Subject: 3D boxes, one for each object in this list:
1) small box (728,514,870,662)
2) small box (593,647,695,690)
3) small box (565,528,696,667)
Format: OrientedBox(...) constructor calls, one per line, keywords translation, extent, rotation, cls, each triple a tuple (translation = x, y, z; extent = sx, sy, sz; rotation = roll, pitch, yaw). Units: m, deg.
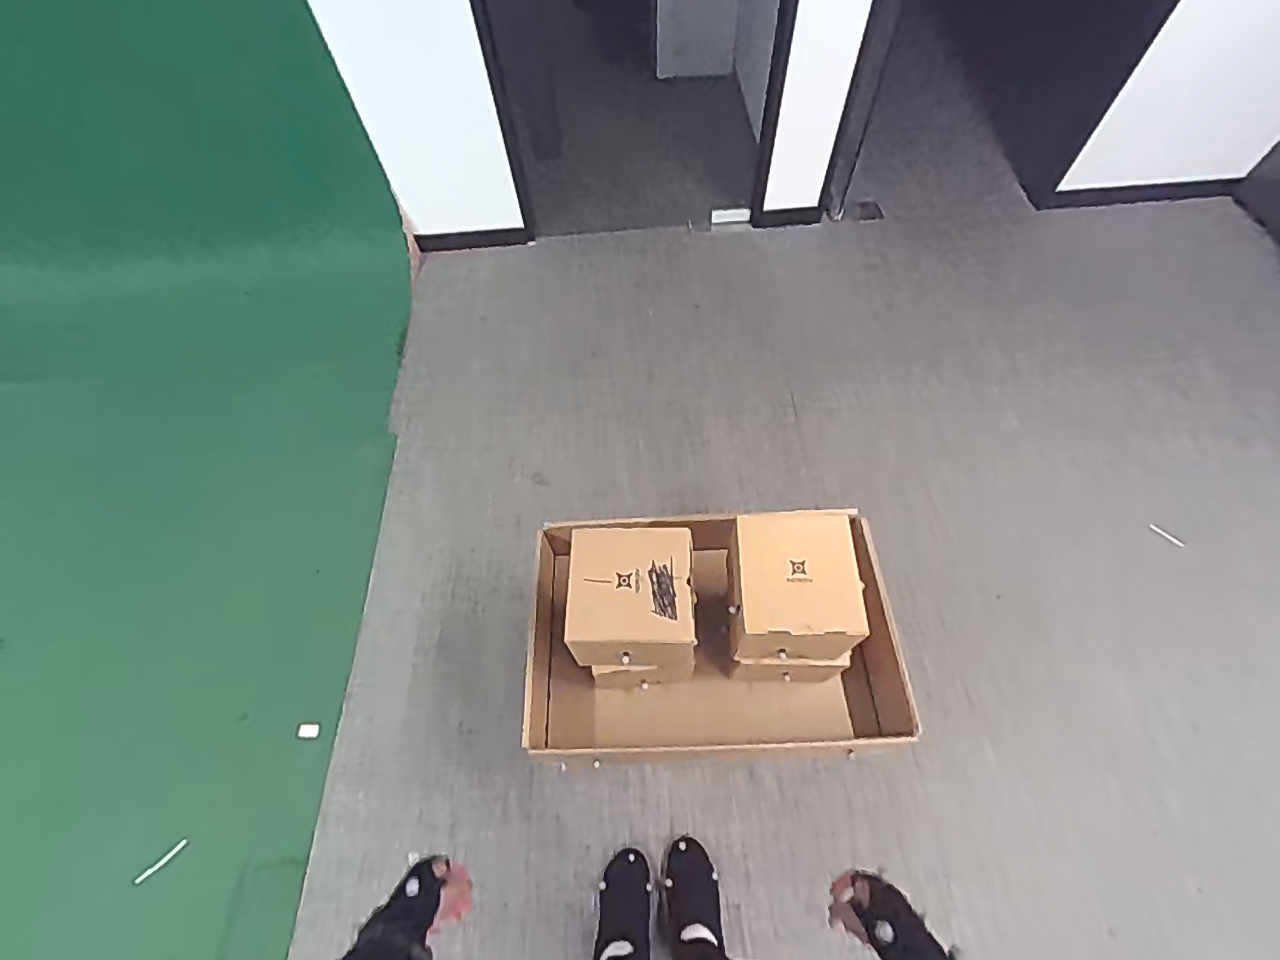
OrientedBox(translation=(0.227, 0.167, 0.823), extent=(0.168, 0.176, 0.179), rotation=(0, 60, 3), cls="small box")
OrientedBox(translation=(0.002, 0.263, 0.963), extent=(0.168, 0.176, 0.179), rotation=(-5, 60, -1), cls="small box")
OrientedBox(translation=(-0.009, 0.182, 0.821), extent=(0.179, 0.176, 0.168), rotation=(0, 59, 3), cls="small box")
